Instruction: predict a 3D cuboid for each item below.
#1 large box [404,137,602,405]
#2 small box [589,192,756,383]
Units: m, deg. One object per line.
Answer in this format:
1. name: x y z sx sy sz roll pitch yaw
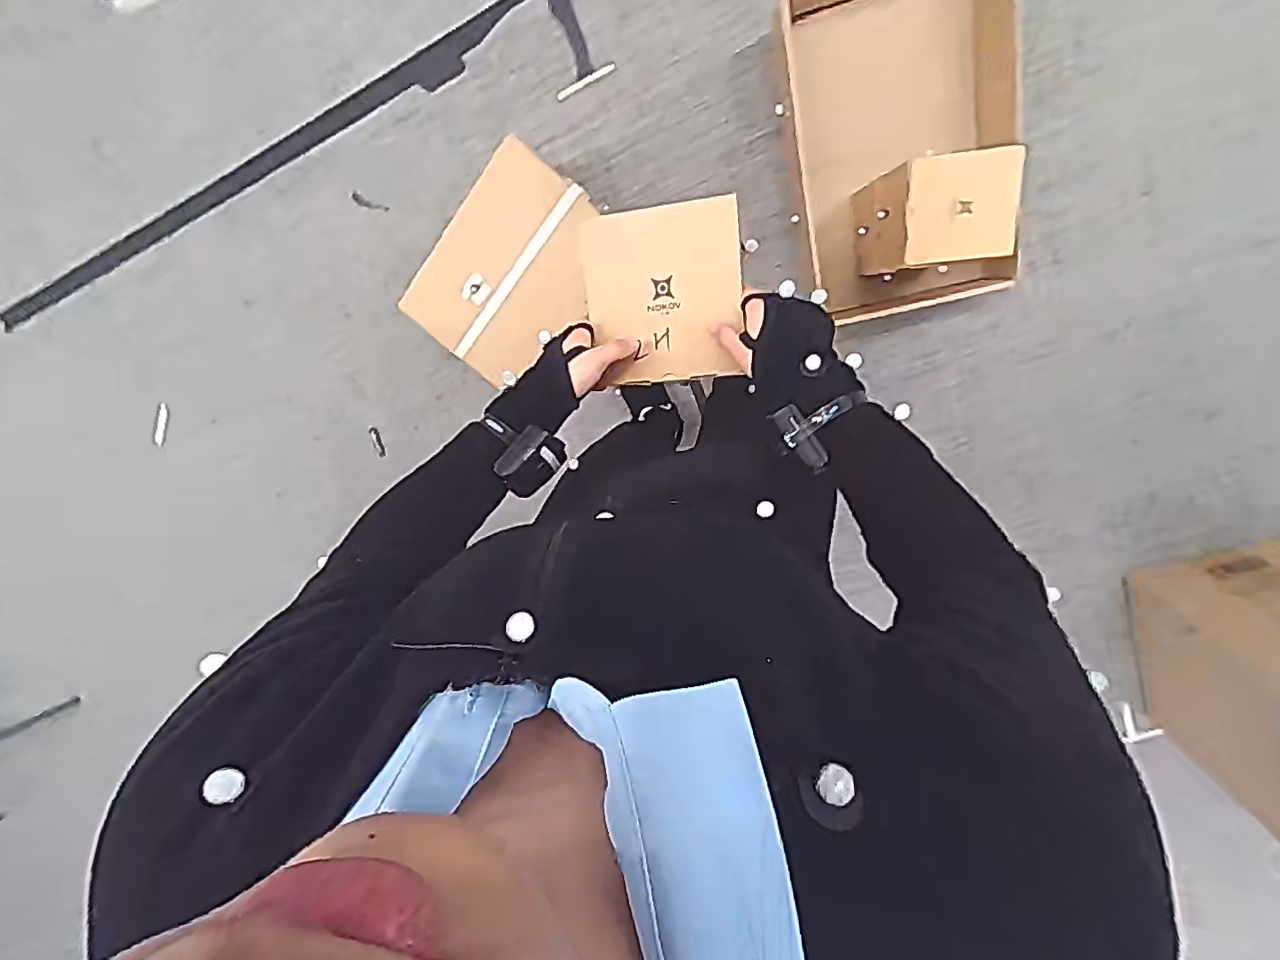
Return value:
1. large box: -0.231 -0.444 1.199 0.320 0.320 0.408 40 109 -8
2. small box: 0.048 -0.210 0.628 0.168 0.176 0.179 -1 105 13
